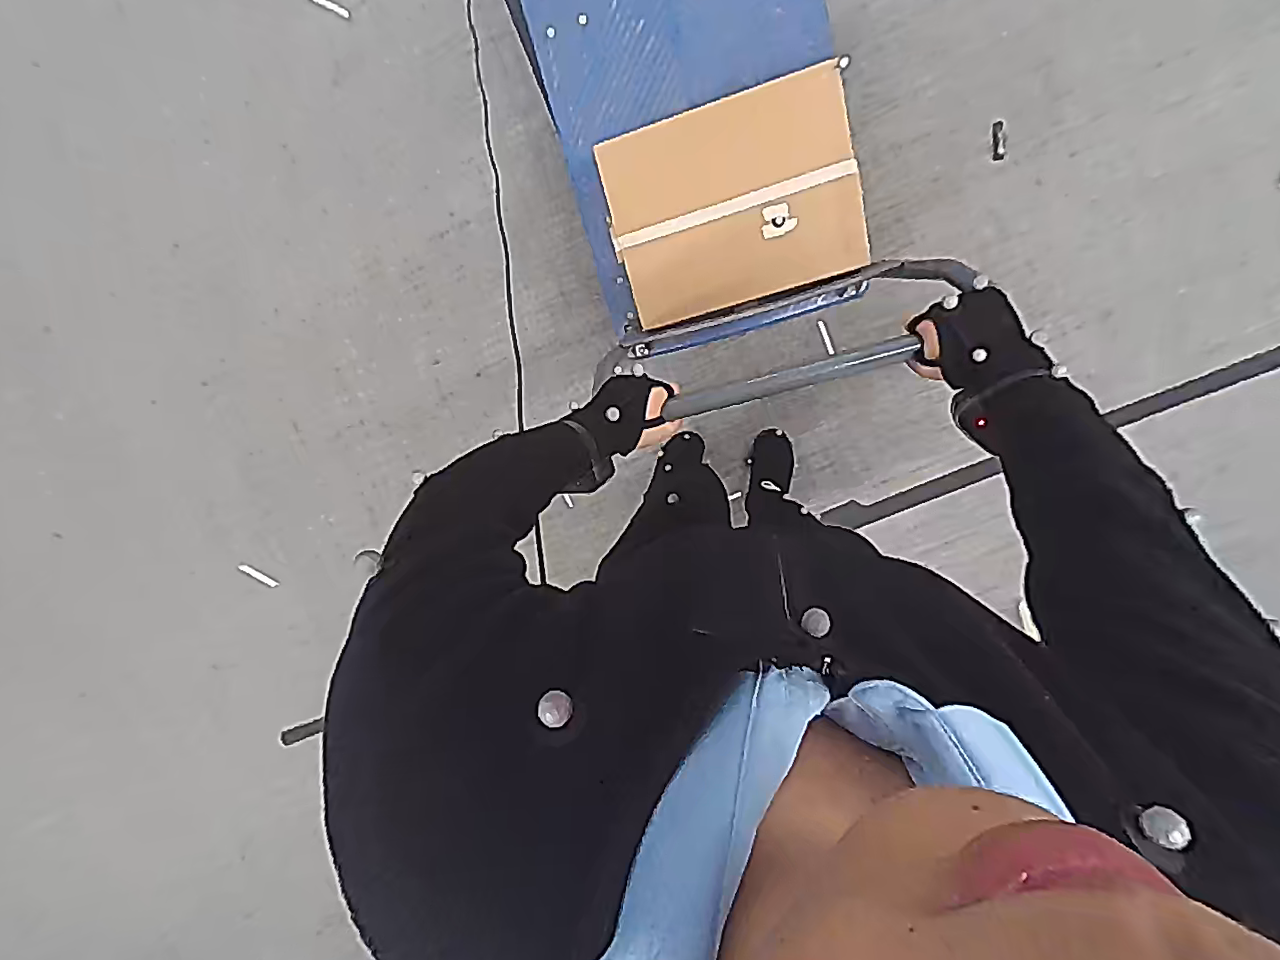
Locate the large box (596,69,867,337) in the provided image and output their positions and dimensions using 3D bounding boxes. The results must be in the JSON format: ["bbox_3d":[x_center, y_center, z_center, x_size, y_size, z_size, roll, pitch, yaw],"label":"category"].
[{"bbox_3d":[0.167,-0.491,1.051,0.408,0.320,0.320,-14,106,9],"label":"large box"}]
